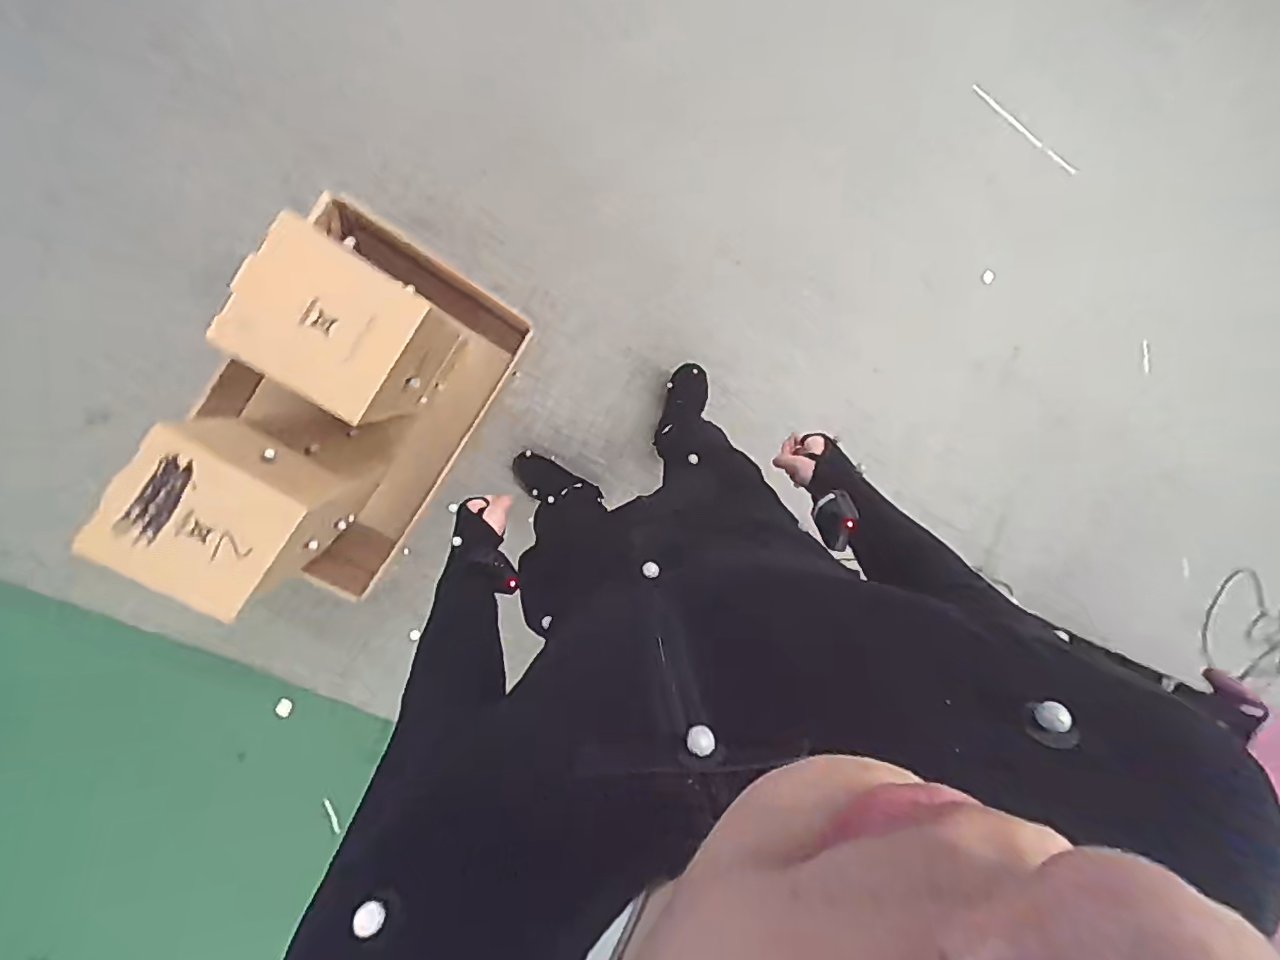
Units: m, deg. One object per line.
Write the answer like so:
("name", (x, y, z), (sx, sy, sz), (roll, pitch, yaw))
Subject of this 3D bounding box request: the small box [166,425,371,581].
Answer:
("small box", (-0.555, 0.024, 0.840), (0.179, 0.176, 0.168), (34, 89, -14))

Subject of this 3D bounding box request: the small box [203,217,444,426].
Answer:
("small box", (-0.374, -0.183, 0.679), (0.179, 0.176, 0.168), (33, 91, -15))

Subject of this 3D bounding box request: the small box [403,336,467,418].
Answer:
("small box", (-0.441, -0.233, 0.996), (0.179, 0.176, 0.168), (33, 91, -14))

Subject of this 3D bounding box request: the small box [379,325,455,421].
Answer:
("small box", (-0.409, -0.210, 0.836), (0.179, 0.176, 0.168), (33, 91, -13))
